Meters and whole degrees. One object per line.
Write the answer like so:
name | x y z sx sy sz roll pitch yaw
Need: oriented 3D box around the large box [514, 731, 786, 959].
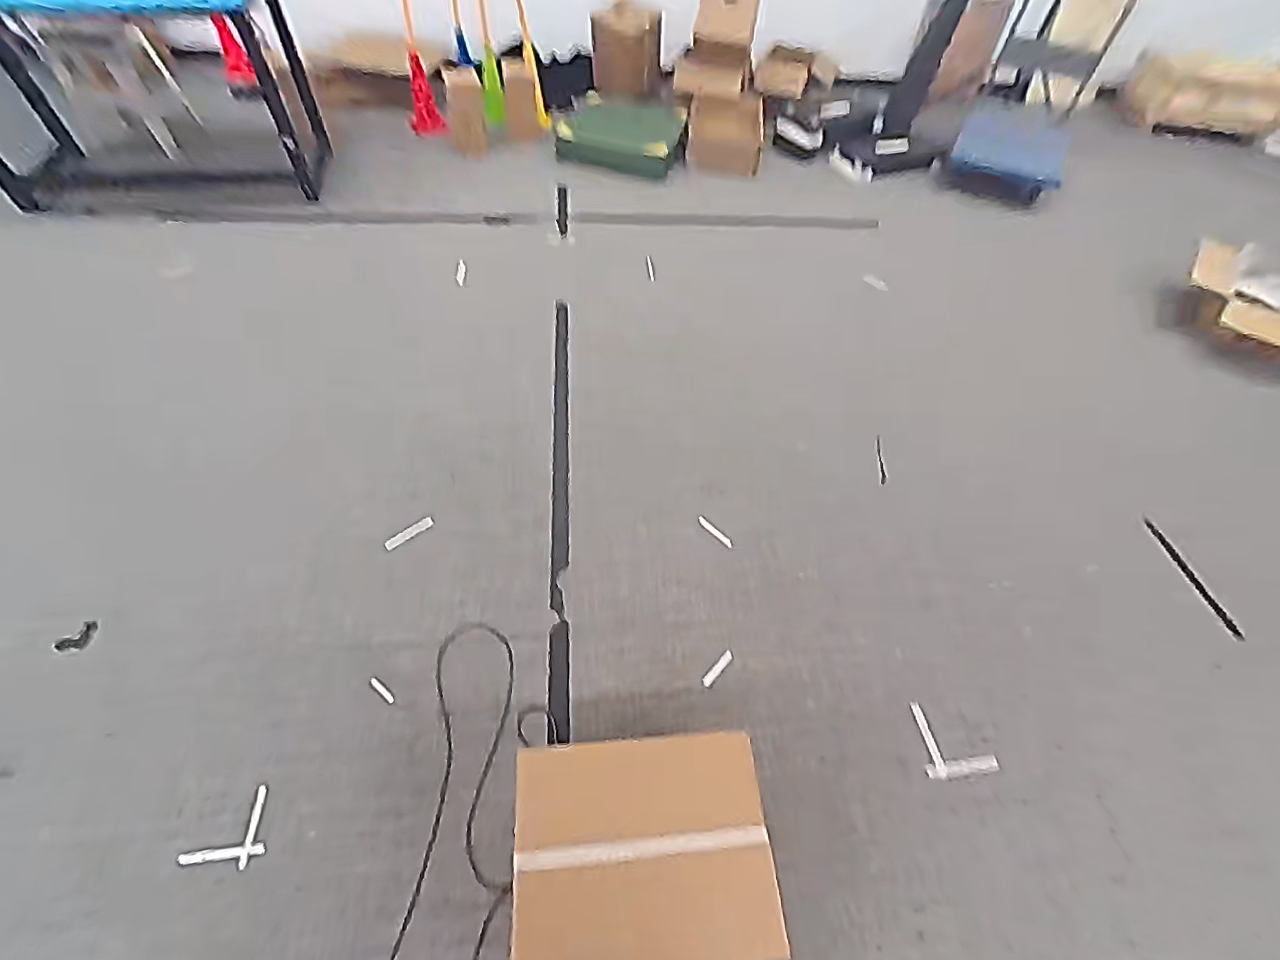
large box | -0.004 0.668 0.980 0.408 0.320 0.320 -2 54 -7
